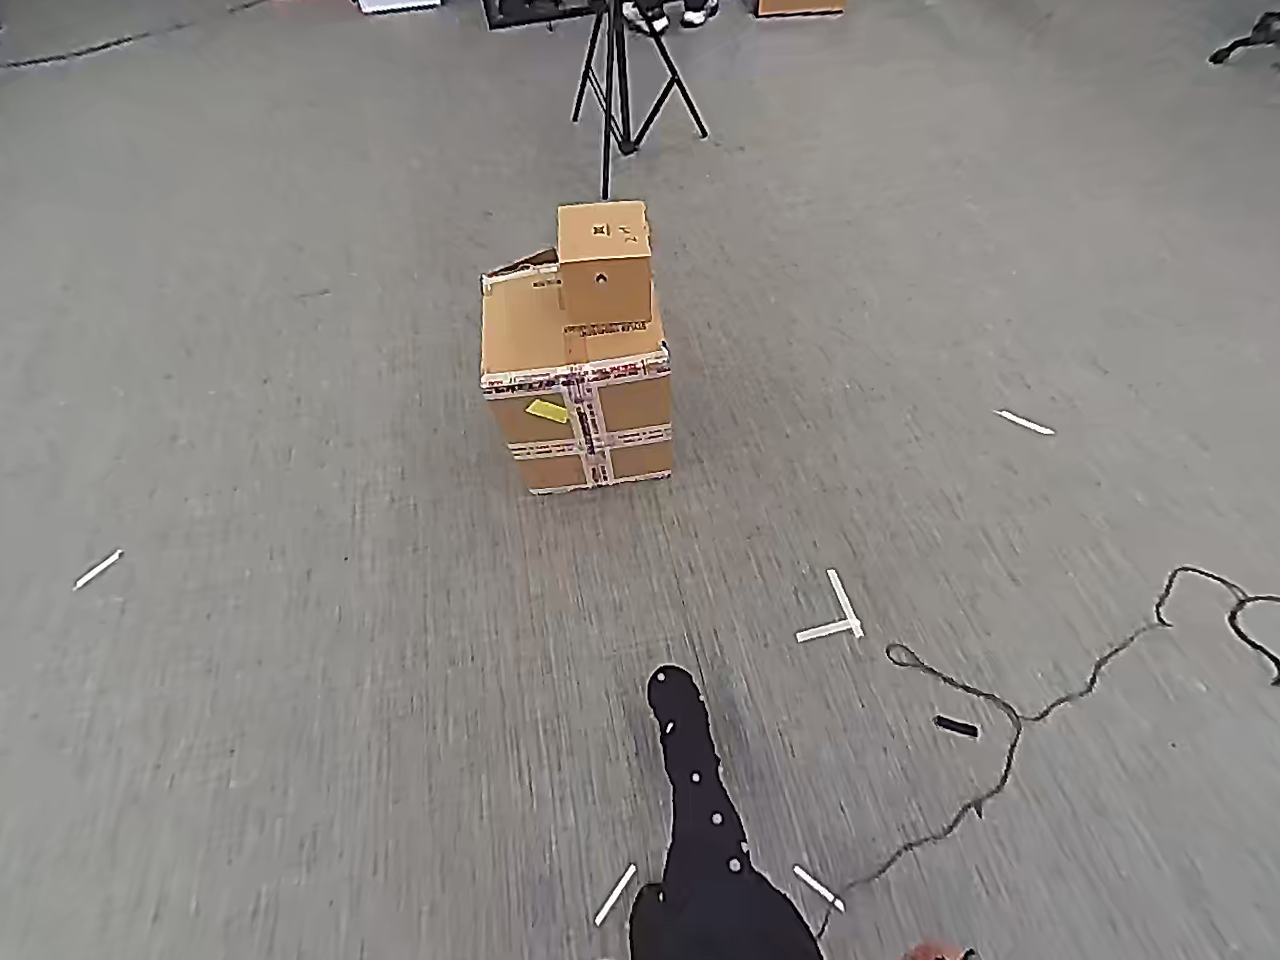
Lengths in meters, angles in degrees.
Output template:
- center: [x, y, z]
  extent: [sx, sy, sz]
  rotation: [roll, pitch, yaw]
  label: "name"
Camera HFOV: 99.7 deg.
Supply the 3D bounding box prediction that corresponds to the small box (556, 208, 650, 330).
- center: [-0.072, -0.427, 1.114]
  extent: [0.179, 0.176, 0.168]
  rotation: [-5, 62, -1]
  label: "small box"
